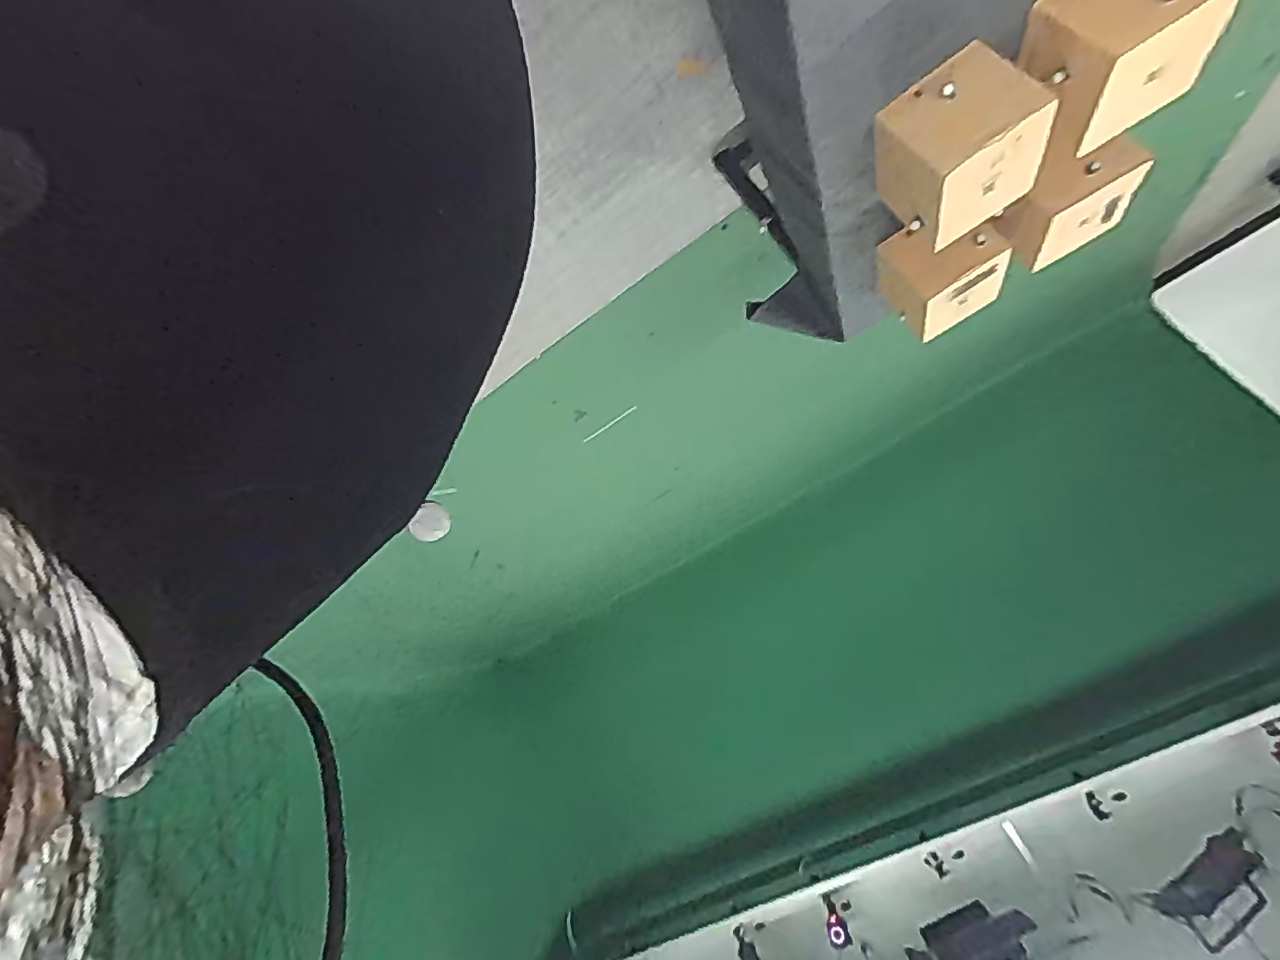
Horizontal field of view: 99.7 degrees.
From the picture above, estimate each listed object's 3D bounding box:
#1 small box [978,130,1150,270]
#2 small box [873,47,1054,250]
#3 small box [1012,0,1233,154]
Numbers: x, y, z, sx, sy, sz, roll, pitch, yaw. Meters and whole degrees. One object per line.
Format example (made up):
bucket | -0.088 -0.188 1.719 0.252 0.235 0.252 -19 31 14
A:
small box | 0.804 -0.559 1.050 0.179 0.176 0.168 -31 154 11
small box | 0.486 -0.512 0.845 0.168 0.176 0.179 -33 153 12
small box | 0.690 -0.640 0.797 0.179 0.176 0.168 -32 154 11
